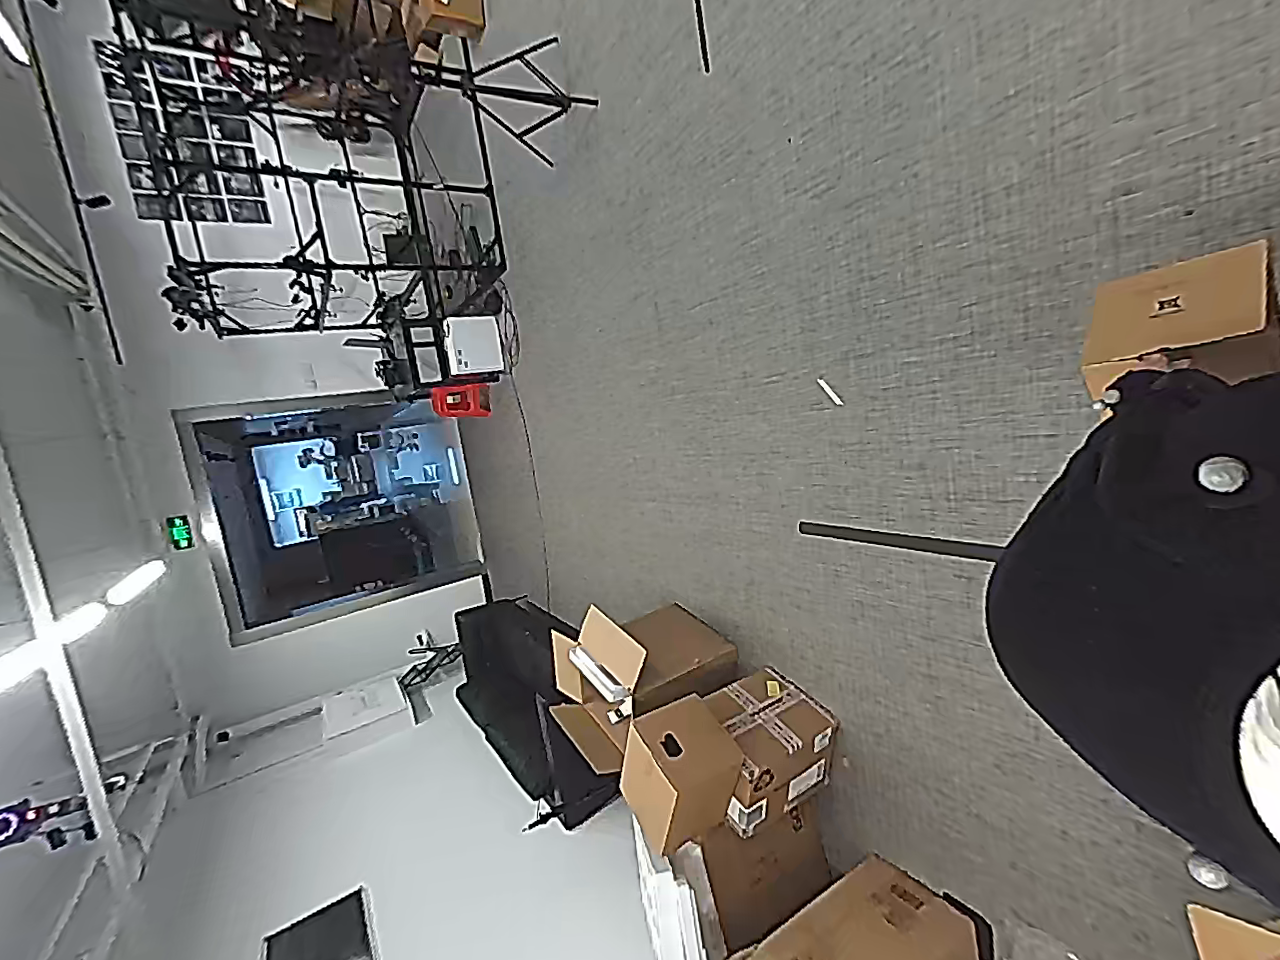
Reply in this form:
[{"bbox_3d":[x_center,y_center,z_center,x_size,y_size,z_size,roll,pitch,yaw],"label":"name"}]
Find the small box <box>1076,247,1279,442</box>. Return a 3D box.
[{"bbox_3d":[0.721,-0.164,0.723,0.176,0.179,0.168,46,152,-25],"label":"small box"}]
